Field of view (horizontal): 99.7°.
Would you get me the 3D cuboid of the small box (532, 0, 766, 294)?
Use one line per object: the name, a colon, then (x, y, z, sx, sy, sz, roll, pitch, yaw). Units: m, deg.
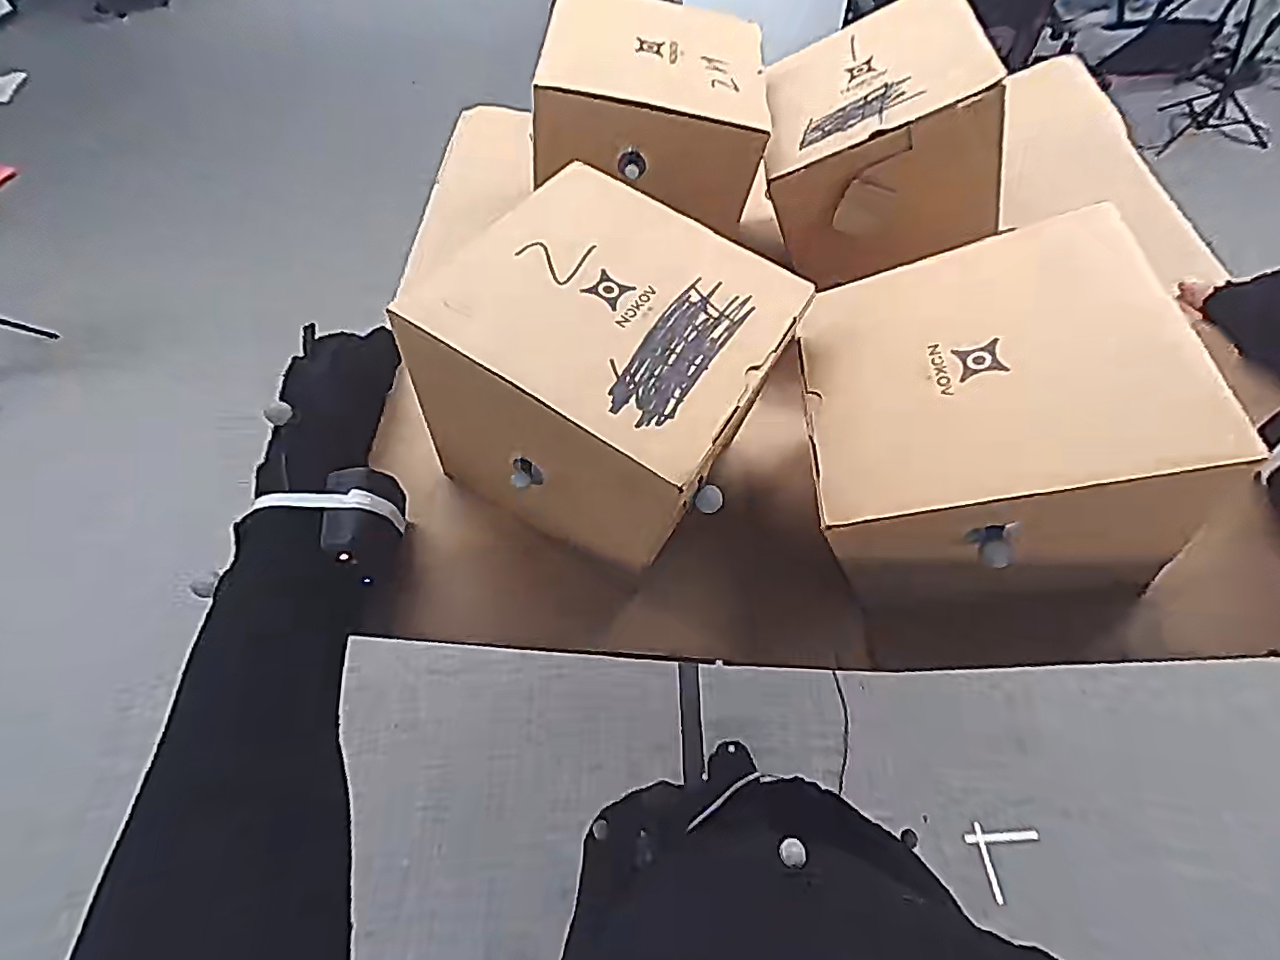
small box: (0.002, -0.298, 0.499, 0.179, 0.176, 0.168, 8, 61, -6)
